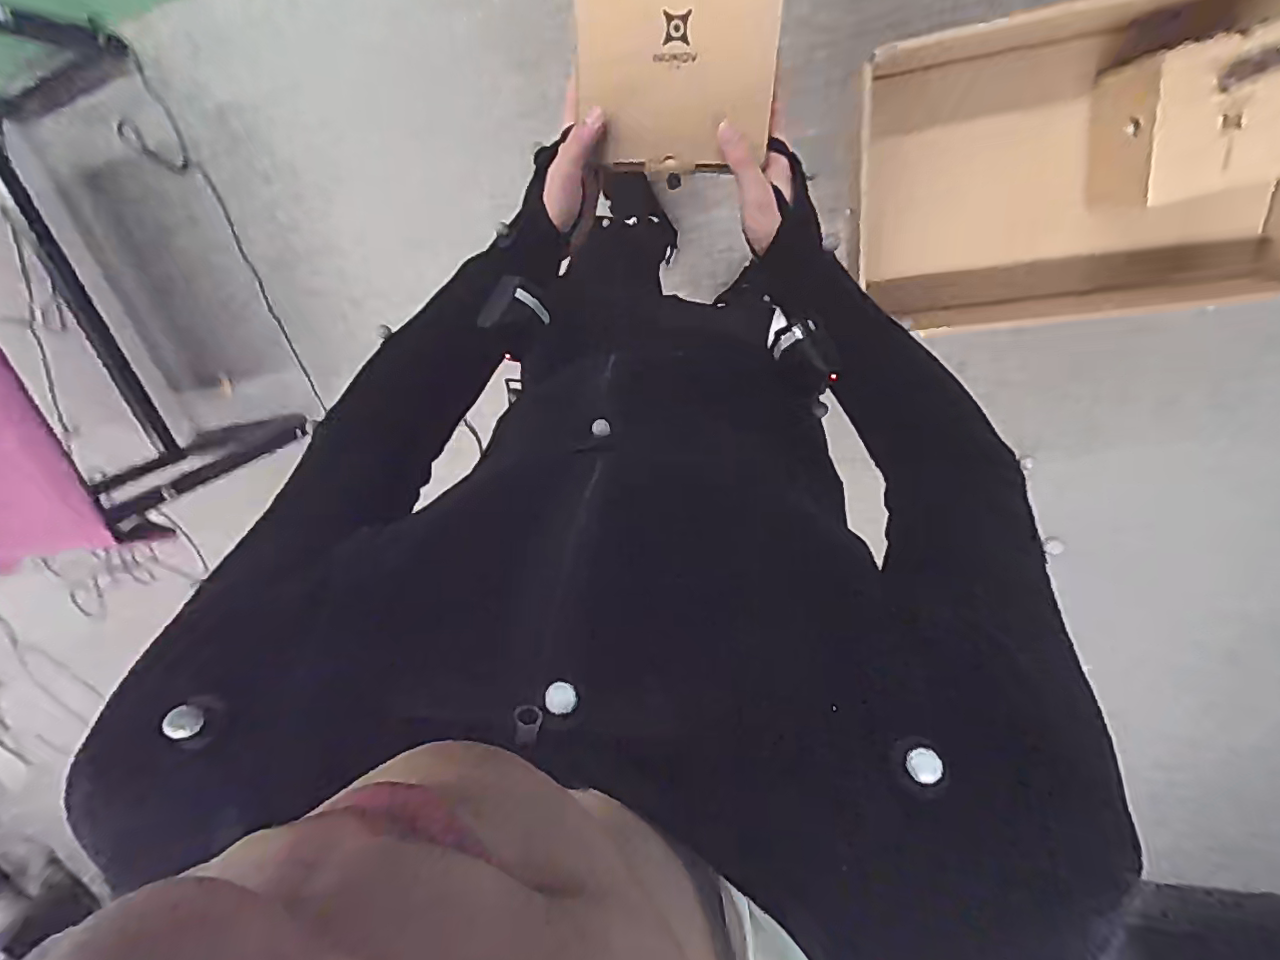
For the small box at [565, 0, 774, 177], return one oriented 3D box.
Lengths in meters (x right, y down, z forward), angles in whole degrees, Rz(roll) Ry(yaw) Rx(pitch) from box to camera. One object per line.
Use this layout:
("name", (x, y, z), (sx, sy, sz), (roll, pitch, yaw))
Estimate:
("small box", (0.031, -0.383, 0.499), (0.168, 0.176, 0.179), (3, 120, 6))
